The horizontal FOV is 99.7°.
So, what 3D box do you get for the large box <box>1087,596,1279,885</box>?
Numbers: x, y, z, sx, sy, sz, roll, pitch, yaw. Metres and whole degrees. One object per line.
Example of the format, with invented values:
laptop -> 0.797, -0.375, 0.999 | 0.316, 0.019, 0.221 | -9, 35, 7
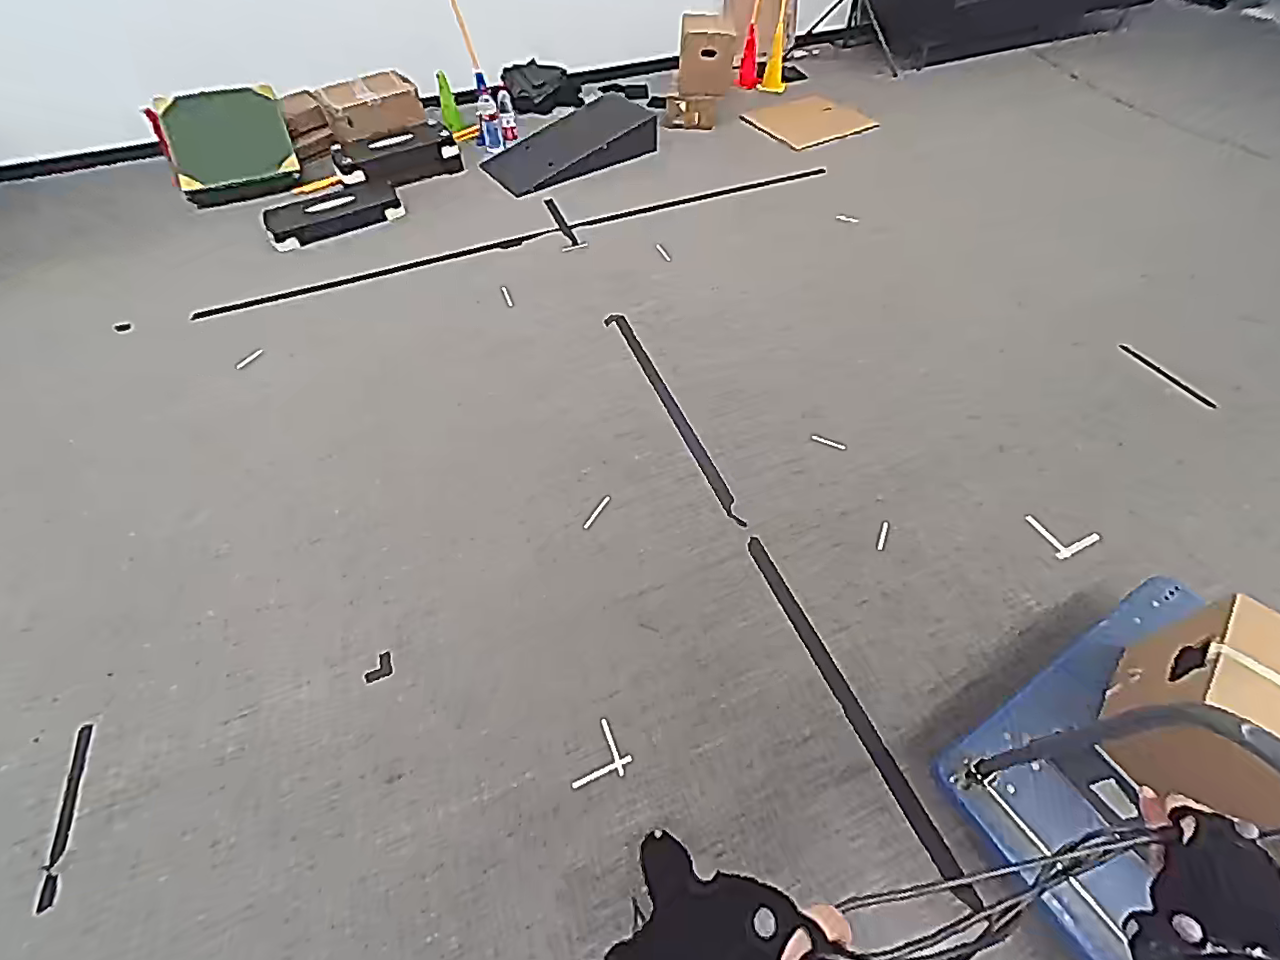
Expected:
large box -> 1.186, 0.504, 1.016 | 0.408, 0.320, 0.320 | 36, 62, 24
